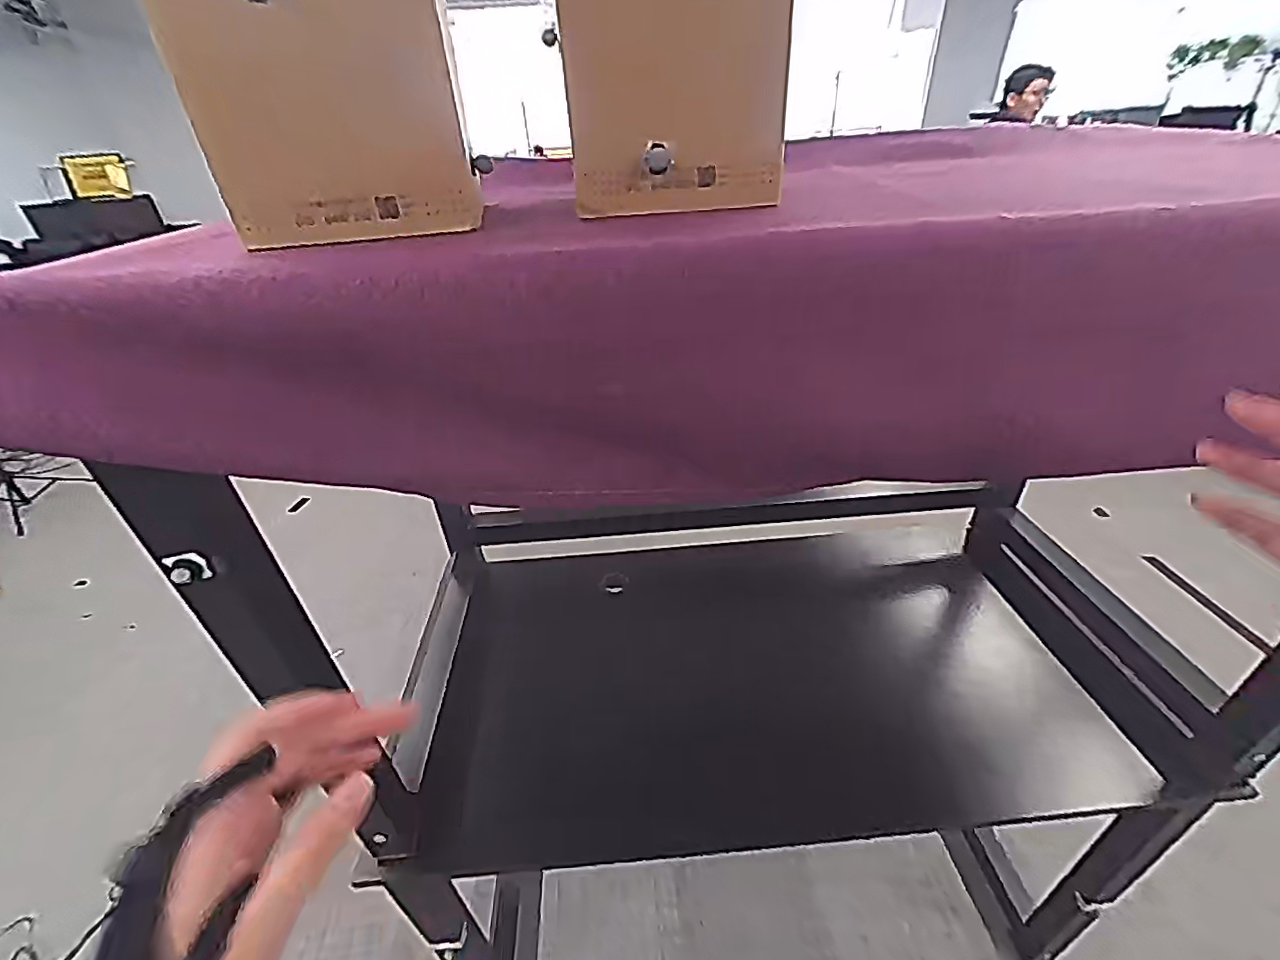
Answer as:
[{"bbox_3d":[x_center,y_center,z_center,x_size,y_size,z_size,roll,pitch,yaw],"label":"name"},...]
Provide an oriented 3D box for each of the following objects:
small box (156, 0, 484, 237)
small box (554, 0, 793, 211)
[{"bbox_3d":[-0.221,-0.291,0.417,0.168,0.176,0.179,-10,33,-9],"label":"small box"},{"bbox_3d":[0.018,-0.331,0.456,0.168,0.176,0.179,-6,34,-2],"label":"small box"}]
